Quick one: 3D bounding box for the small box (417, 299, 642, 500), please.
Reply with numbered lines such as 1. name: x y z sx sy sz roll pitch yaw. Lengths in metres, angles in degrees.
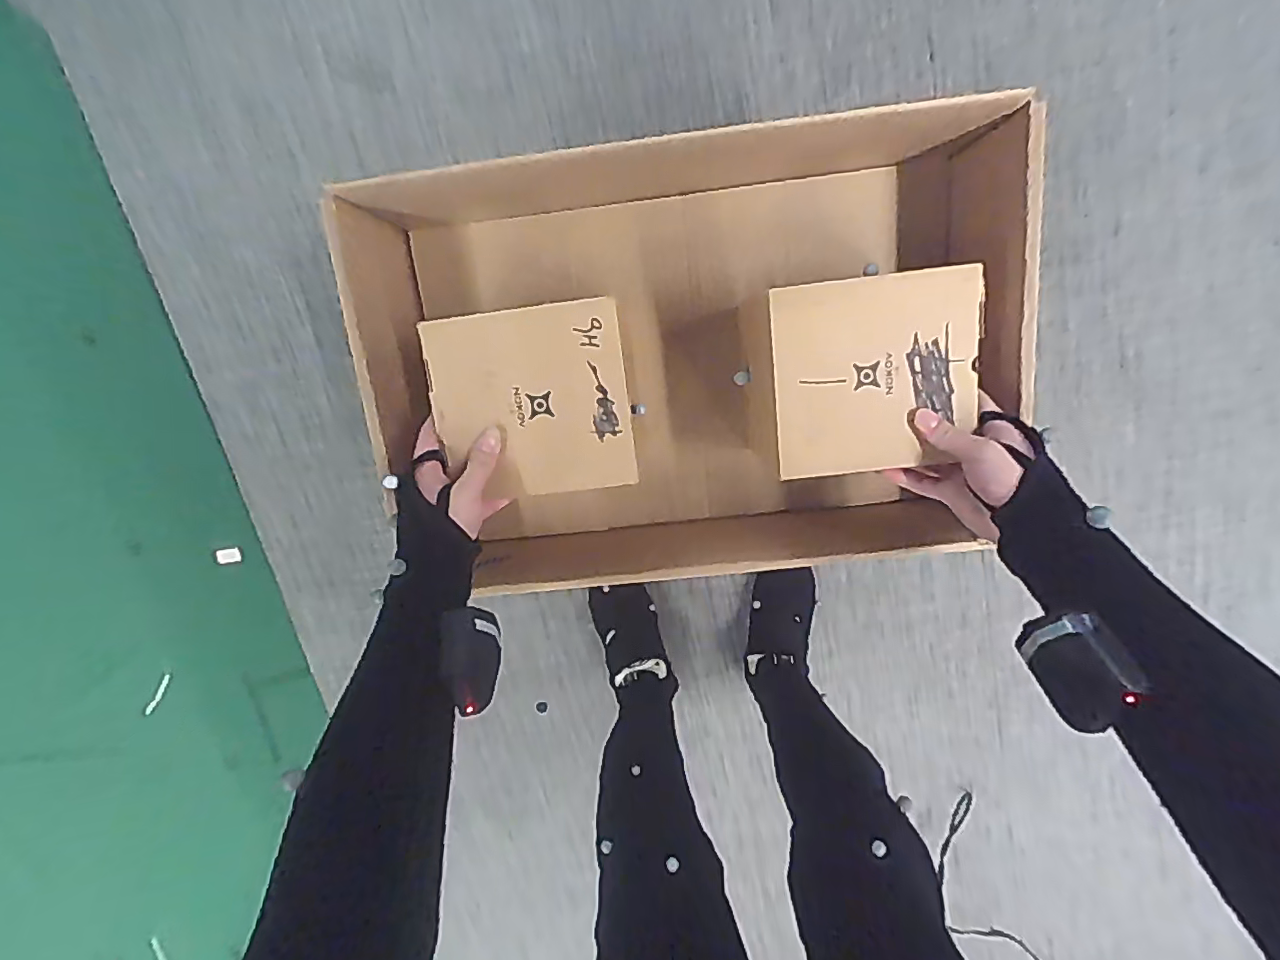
1. small box: -0.097 -0.084 0.560 0.179 0.176 0.168 -6 102 5
